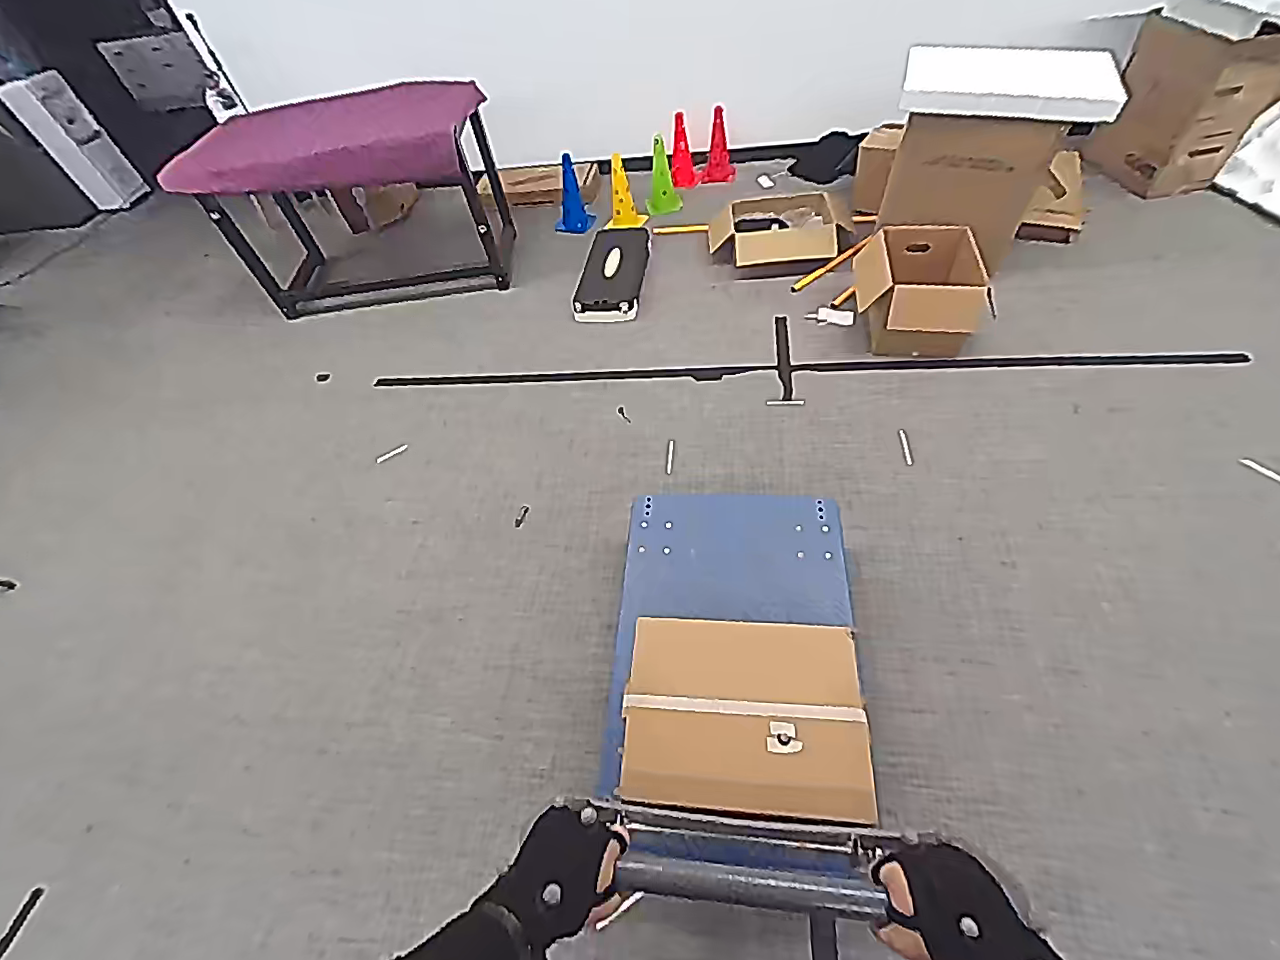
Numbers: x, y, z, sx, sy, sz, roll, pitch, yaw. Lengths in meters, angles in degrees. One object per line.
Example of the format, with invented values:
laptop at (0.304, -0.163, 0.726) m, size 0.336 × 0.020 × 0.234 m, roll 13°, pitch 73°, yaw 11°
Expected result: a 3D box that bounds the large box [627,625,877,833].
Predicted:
large box at (0.196, 0.495, 1.068) m, size 0.408 × 0.320 × 0.320 m, roll 0°, pitch 55°, yaw 7°
